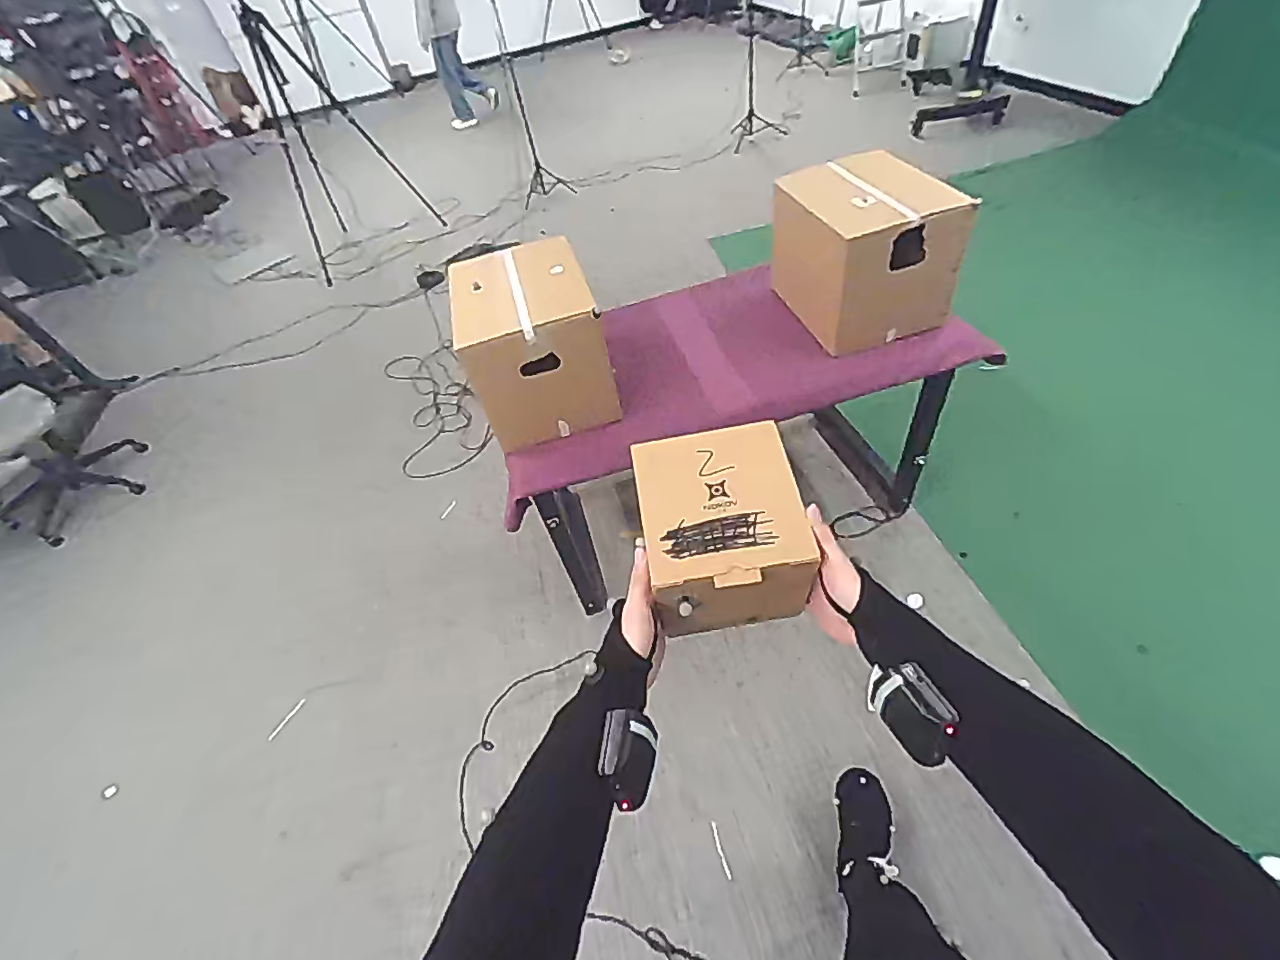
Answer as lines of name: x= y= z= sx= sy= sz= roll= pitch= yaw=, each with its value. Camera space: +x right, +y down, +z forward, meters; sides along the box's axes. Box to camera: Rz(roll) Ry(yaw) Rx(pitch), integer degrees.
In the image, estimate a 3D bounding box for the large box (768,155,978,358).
large box: x=0.562 y=-0.586 z=1.408 sx=0.320 sy=0.320 sz=0.408 roll=-17 pitch=48 yaw=-3
